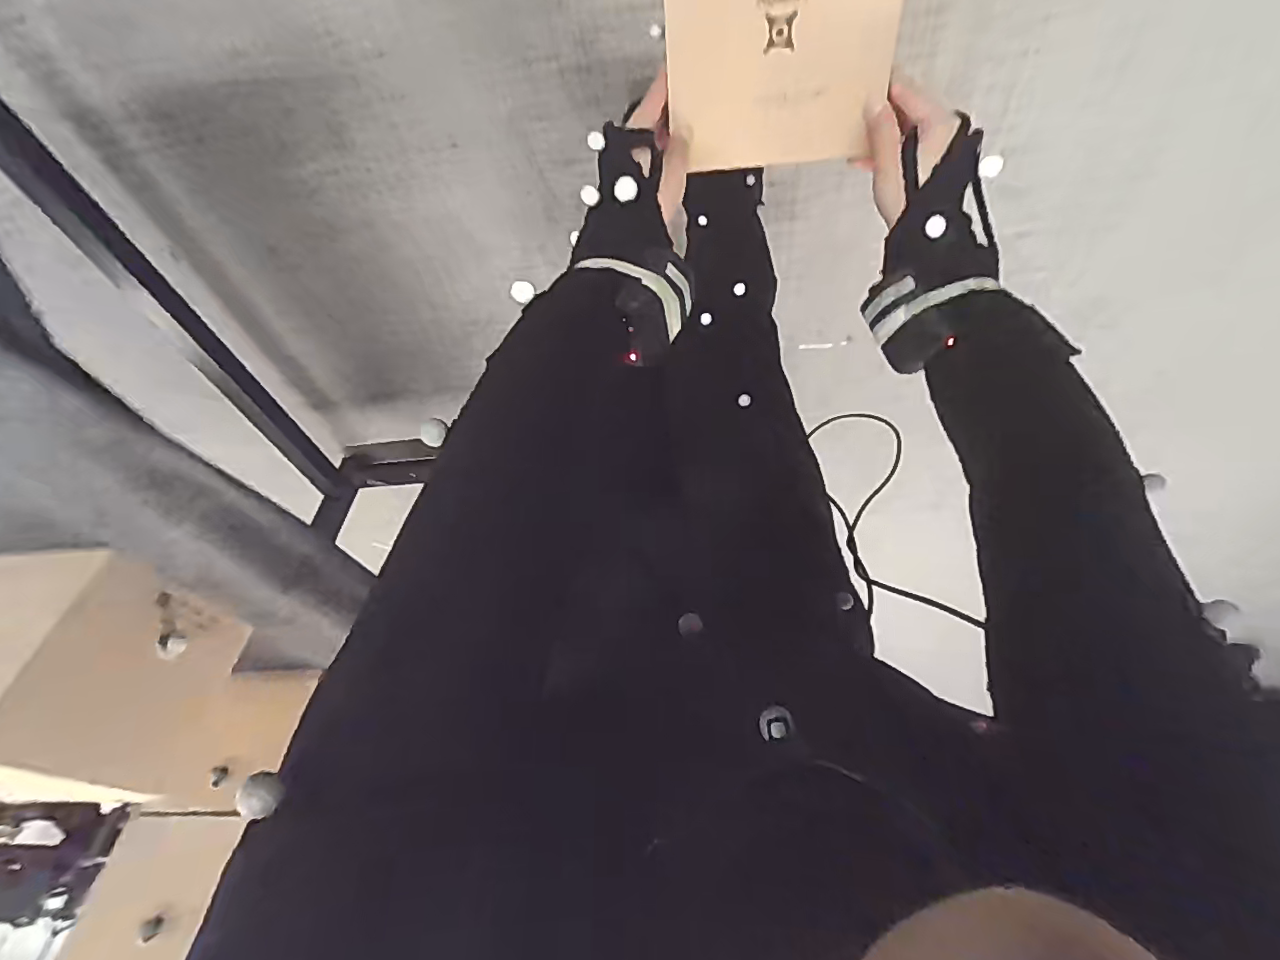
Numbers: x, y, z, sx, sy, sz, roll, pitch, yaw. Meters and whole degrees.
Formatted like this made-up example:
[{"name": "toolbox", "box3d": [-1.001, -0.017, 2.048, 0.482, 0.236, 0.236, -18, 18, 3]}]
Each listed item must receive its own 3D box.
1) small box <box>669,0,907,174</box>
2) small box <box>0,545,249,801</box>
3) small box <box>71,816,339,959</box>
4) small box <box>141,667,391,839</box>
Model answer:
[{"name": "small box", "box3d": [0.108, -0.370, 0.443, 0.168, 0.176, 0.179, -2, 129, 8]}, {"name": "small box", "box3d": [-0.510, 0.171, 0.481, 0.179, 0.176, 0.168, -5, 140, 10]}, {"name": "small box", "box3d": [-0.472, 0.481, 0.602, 0.179, 0.176, 0.168, -8, 139, 11]}, {"name": "small box", "box3d": [-0.467, 0.358, 0.710, 0.179, 0.176, 0.168, -6, 139, 10]}]
